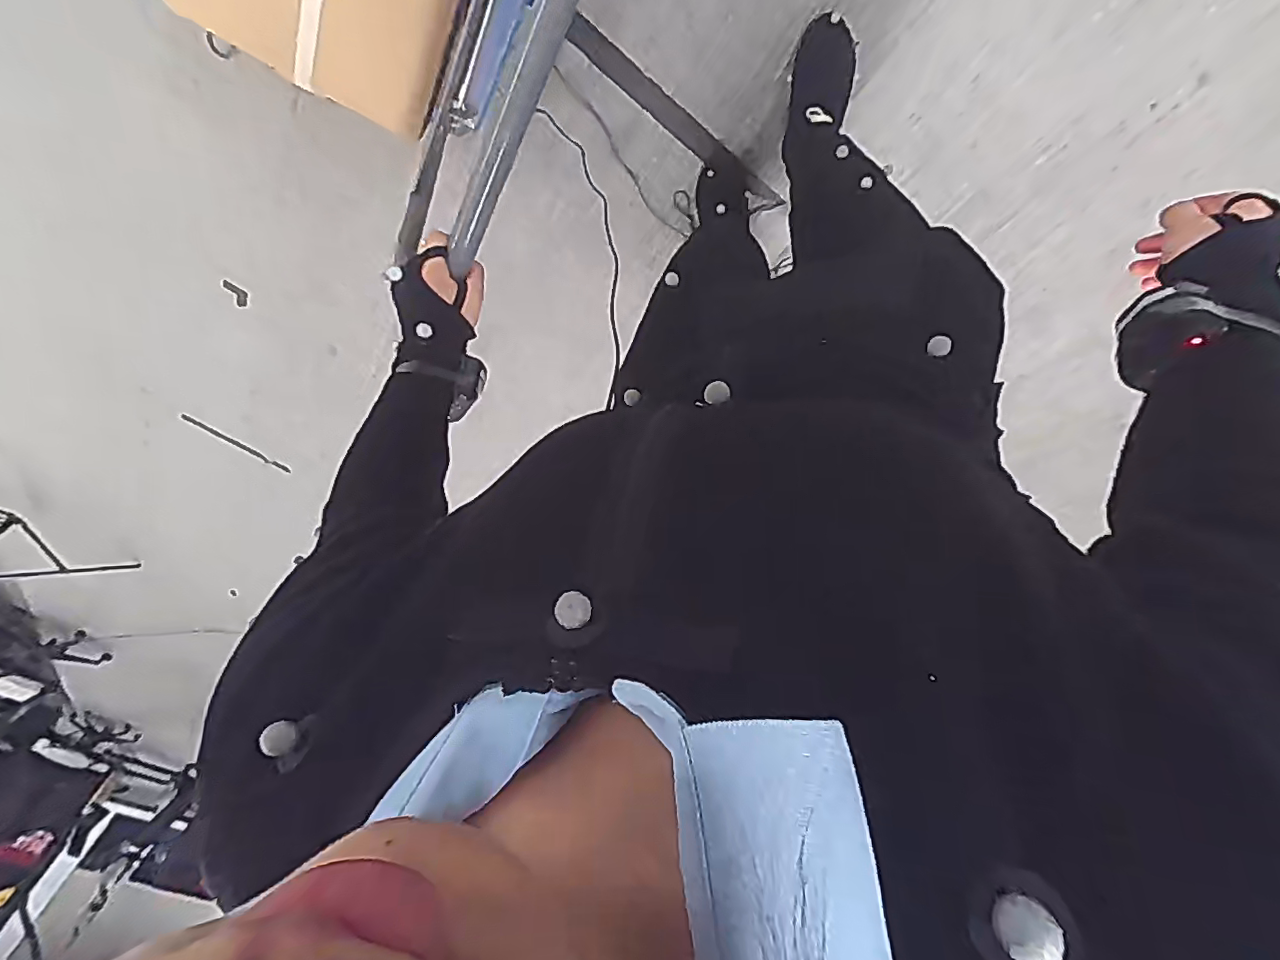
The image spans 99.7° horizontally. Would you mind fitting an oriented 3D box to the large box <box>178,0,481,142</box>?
[{"bbox_3d":[-0.358,-0.772,0.709,0.320,0.320,0.408,18,136,-27],"label":"large box"}]
